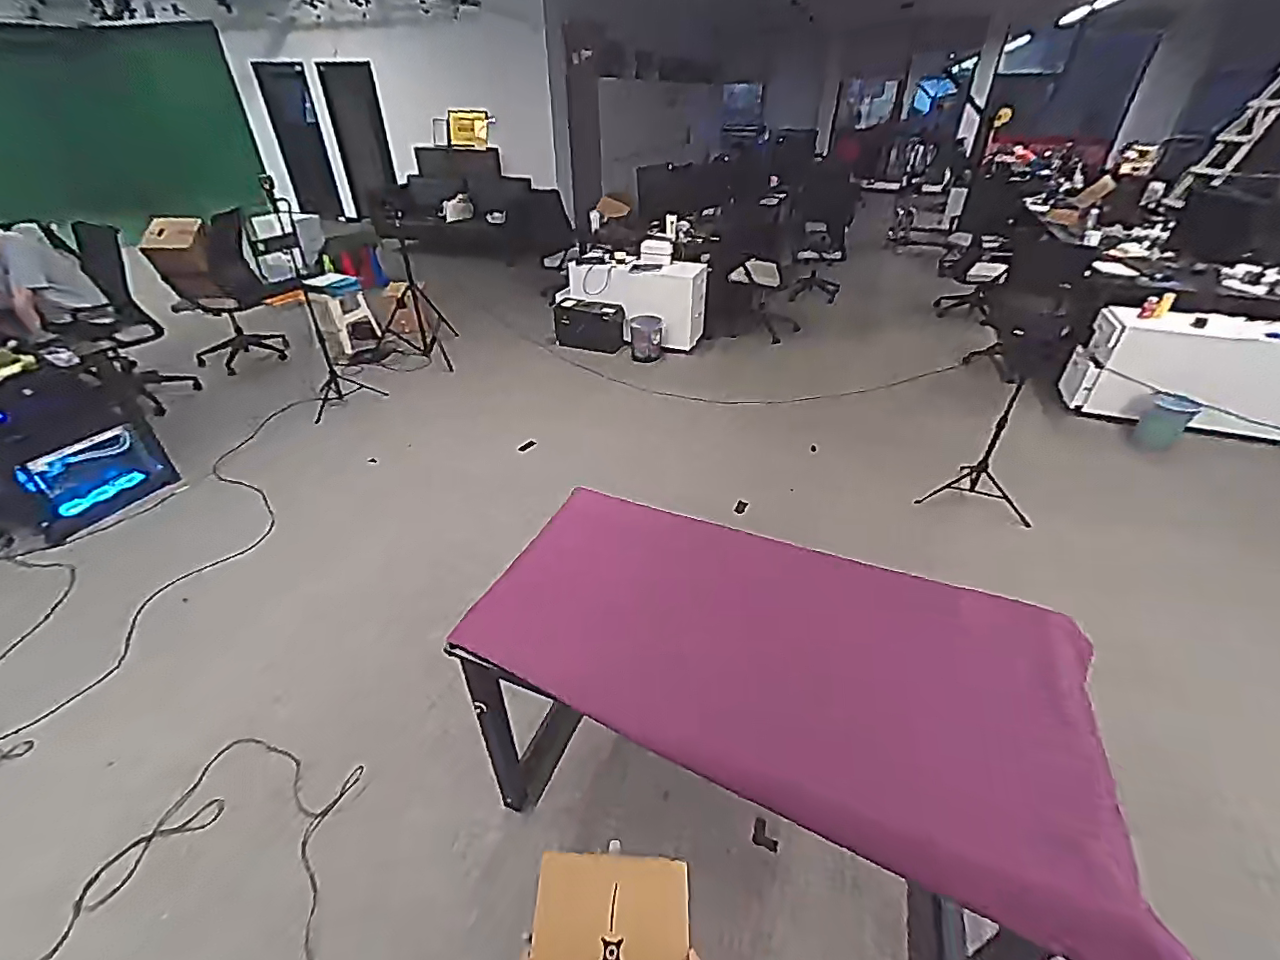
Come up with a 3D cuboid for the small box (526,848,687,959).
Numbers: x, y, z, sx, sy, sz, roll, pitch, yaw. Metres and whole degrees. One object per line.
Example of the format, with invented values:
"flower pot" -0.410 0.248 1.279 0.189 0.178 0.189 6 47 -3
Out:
"small box" -0.041 0.535 0.620 0.168 0.176 0.179 6 56 -3
